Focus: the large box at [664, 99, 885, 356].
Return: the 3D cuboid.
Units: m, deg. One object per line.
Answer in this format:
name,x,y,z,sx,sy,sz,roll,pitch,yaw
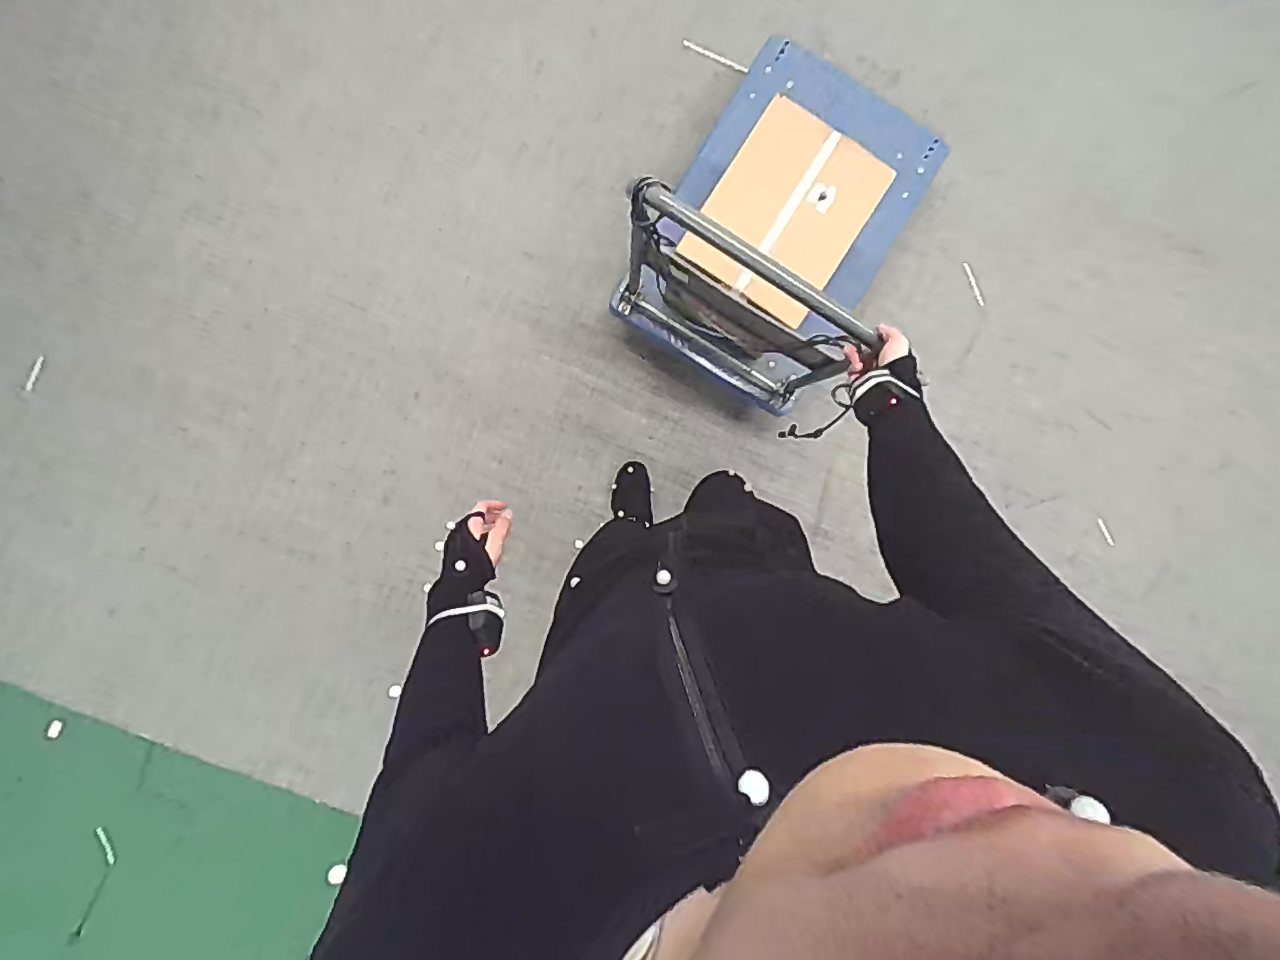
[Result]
large box,0.297,-0.575,1.313,0.320,0.320,0.408,33,89,-3
